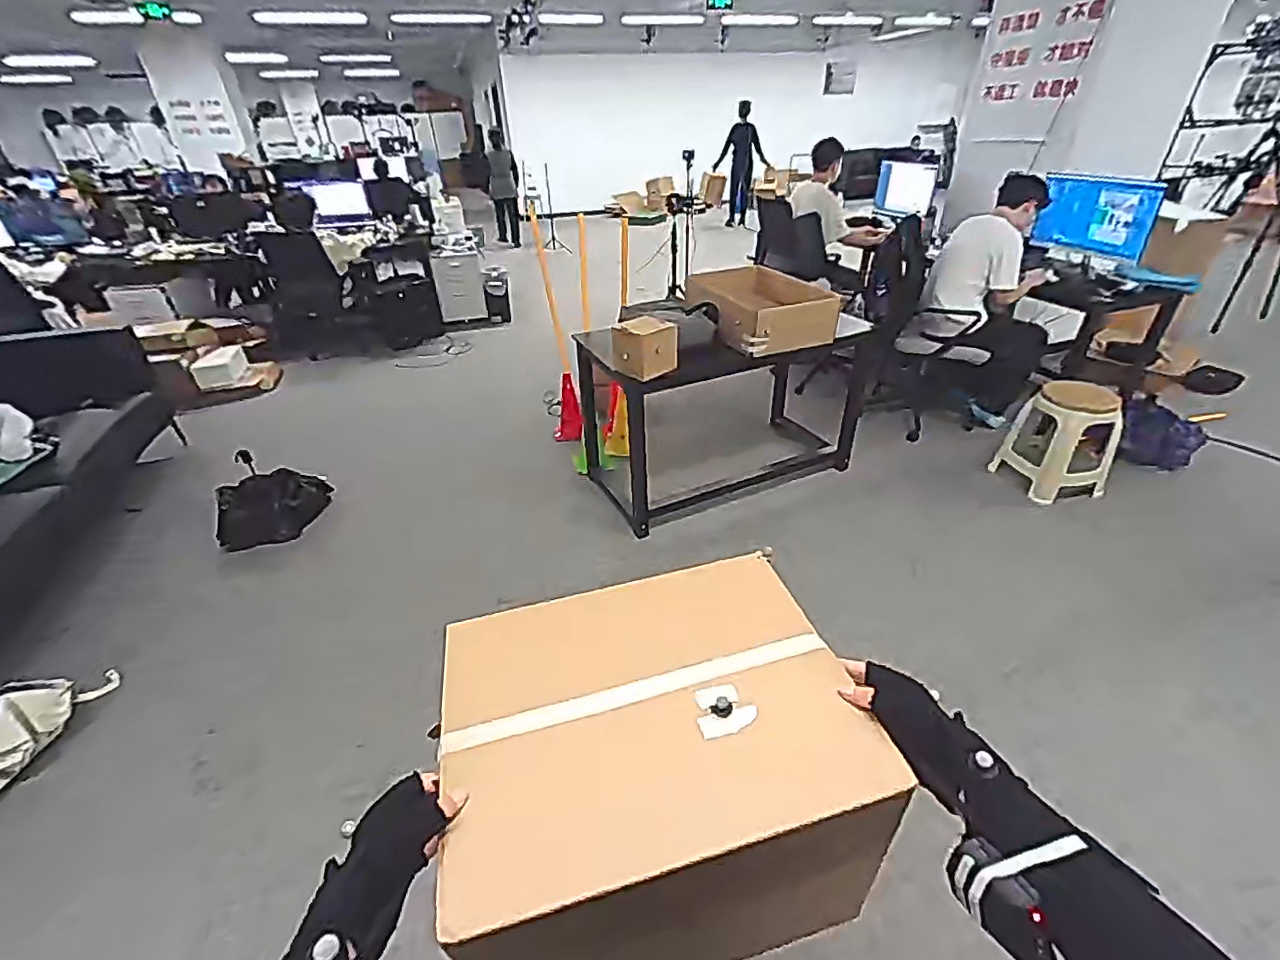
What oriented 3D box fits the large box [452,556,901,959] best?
[{"bbox_3d":[0.015,0.344,0.648,0.408,0.320,0.320,-11,36,-10],"label":"large box"}]
